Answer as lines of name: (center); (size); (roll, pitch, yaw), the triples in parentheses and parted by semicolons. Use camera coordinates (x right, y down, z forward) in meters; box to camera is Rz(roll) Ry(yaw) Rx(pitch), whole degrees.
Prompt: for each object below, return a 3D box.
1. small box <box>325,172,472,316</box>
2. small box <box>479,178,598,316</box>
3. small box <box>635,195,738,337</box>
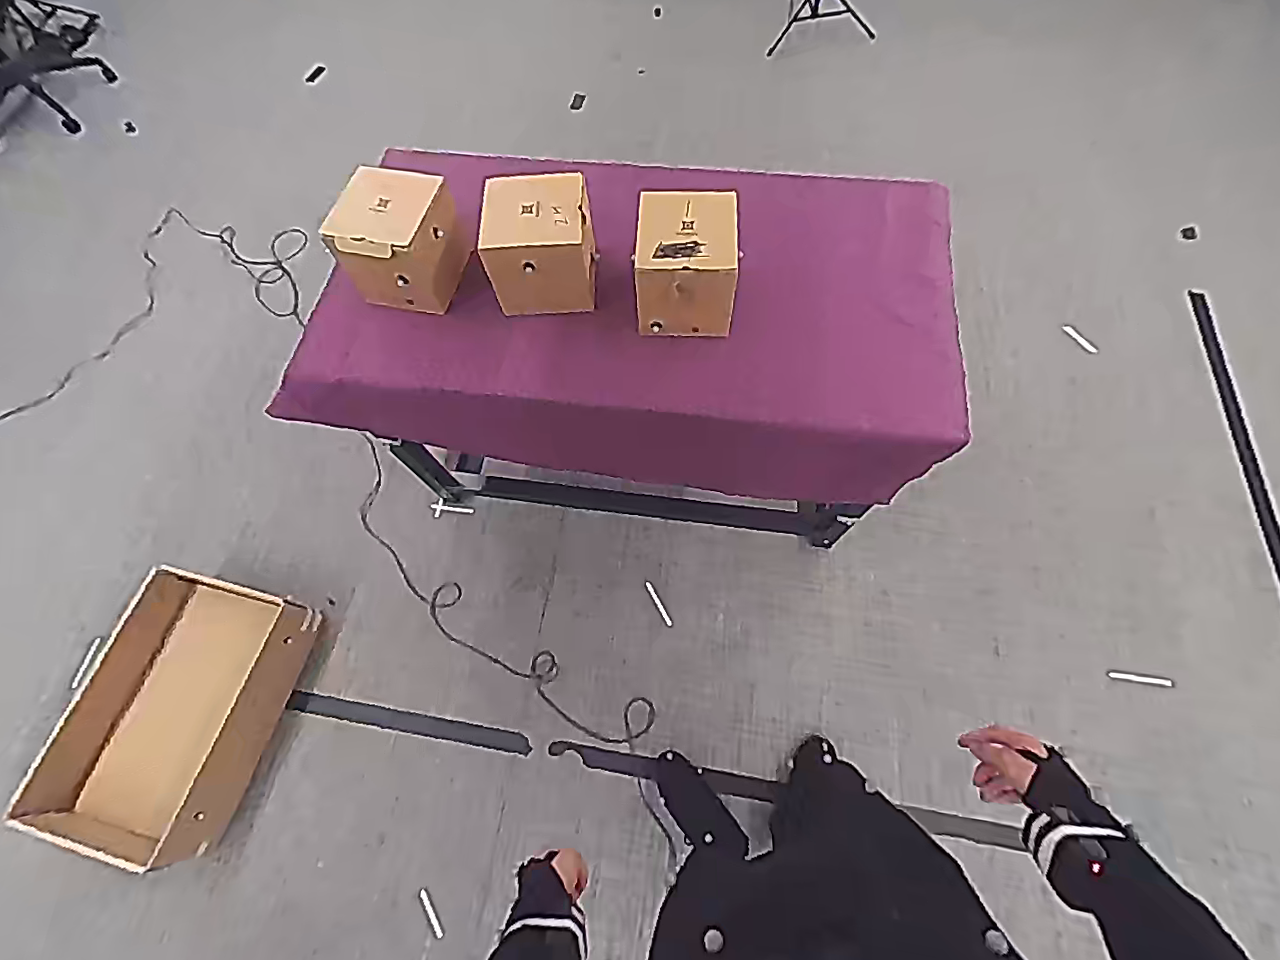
small box: (-0.436, -0.435, 1.012); (0.168, 0.176, 0.179); (11, 67, 6)
small box: (-0.176, -0.418, 0.991); (0.179, 0.176, 0.168); (-2, 67, 2)
small box: (0.083, -0.373, 0.960); (0.168, 0.176, 0.179); (2, 66, 3)
